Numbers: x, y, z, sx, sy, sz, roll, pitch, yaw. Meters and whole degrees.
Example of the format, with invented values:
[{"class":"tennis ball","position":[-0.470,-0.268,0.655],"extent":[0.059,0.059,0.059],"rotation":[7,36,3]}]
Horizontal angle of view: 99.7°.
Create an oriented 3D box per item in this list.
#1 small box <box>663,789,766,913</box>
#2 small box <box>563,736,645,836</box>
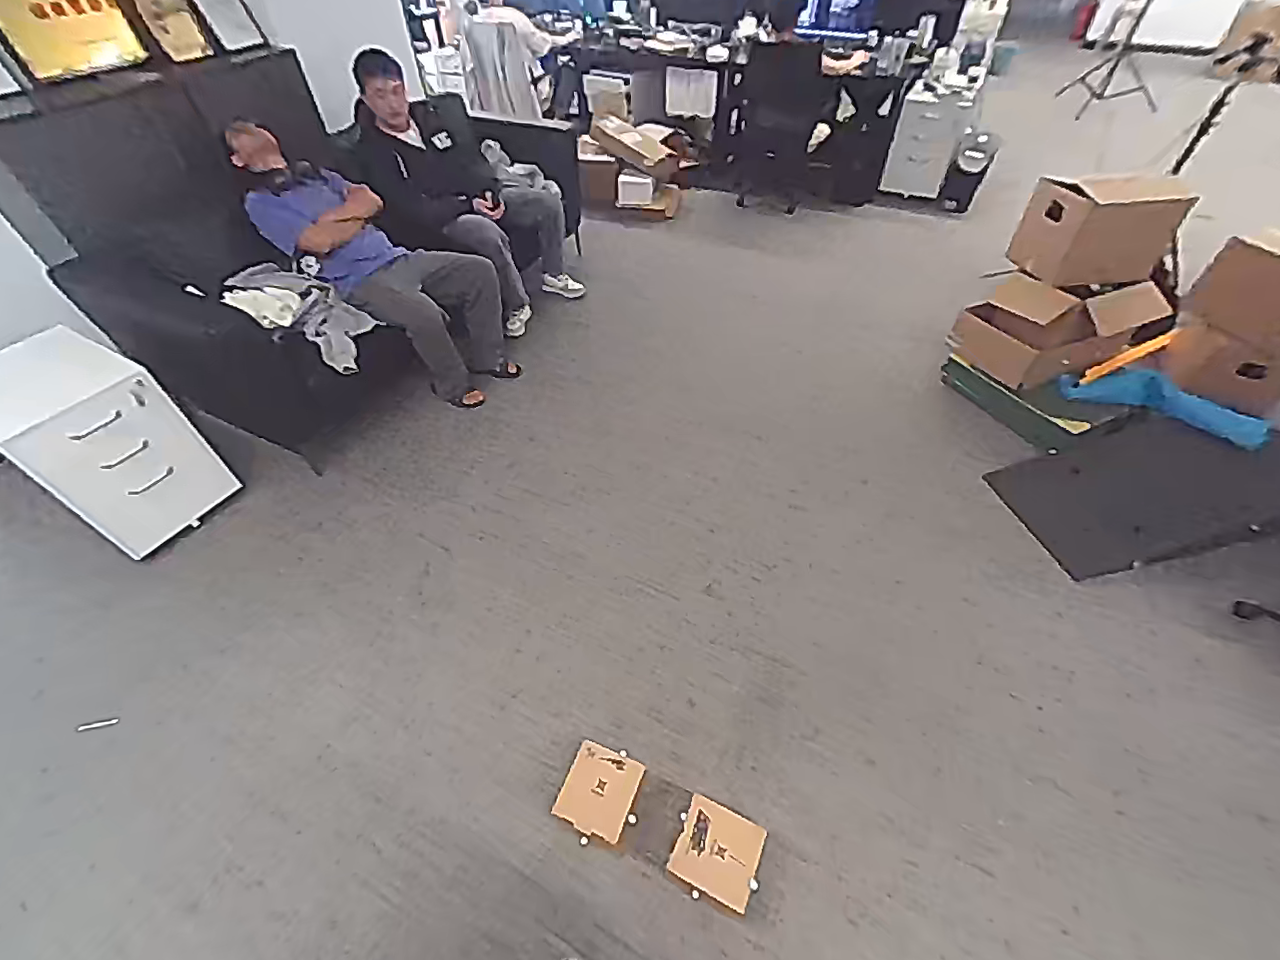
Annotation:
[{"class":"small box","position":[0.167,0.850,1.235],"extent":[0.179,0.176,0.168],"rotation":[22,54,22]},{"class":"small box","position":[-0.087,0.754,1.329],"extent":[0.179,0.176,0.168],"rotation":[-7,45,-2]}]
